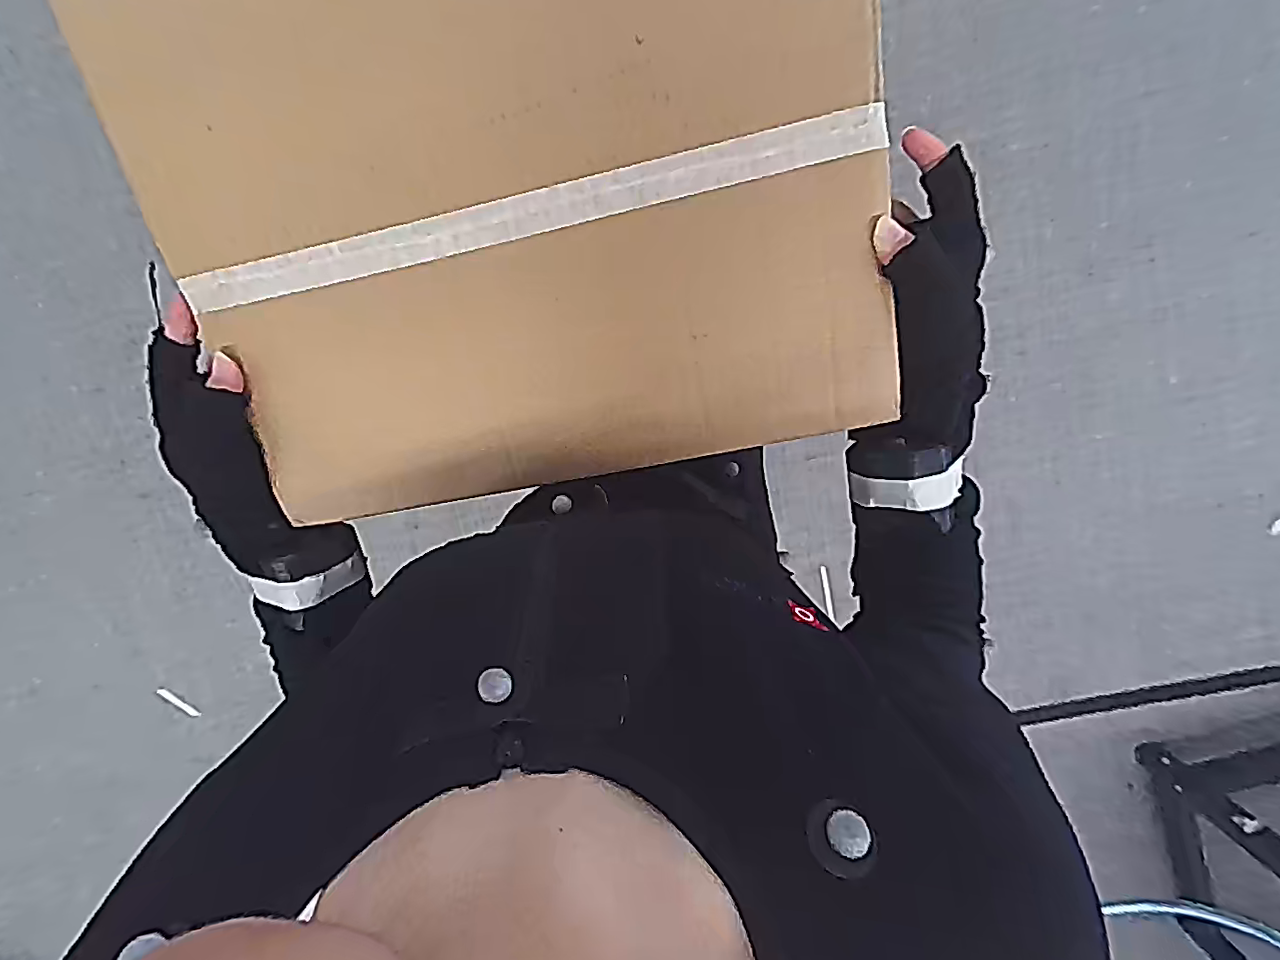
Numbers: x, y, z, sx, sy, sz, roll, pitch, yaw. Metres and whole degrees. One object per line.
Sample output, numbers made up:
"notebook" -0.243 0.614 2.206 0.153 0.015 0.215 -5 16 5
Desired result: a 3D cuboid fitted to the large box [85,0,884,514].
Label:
"large box" -0.063 -0.203 0.450 0.408 0.320 0.320 -10 108 7
